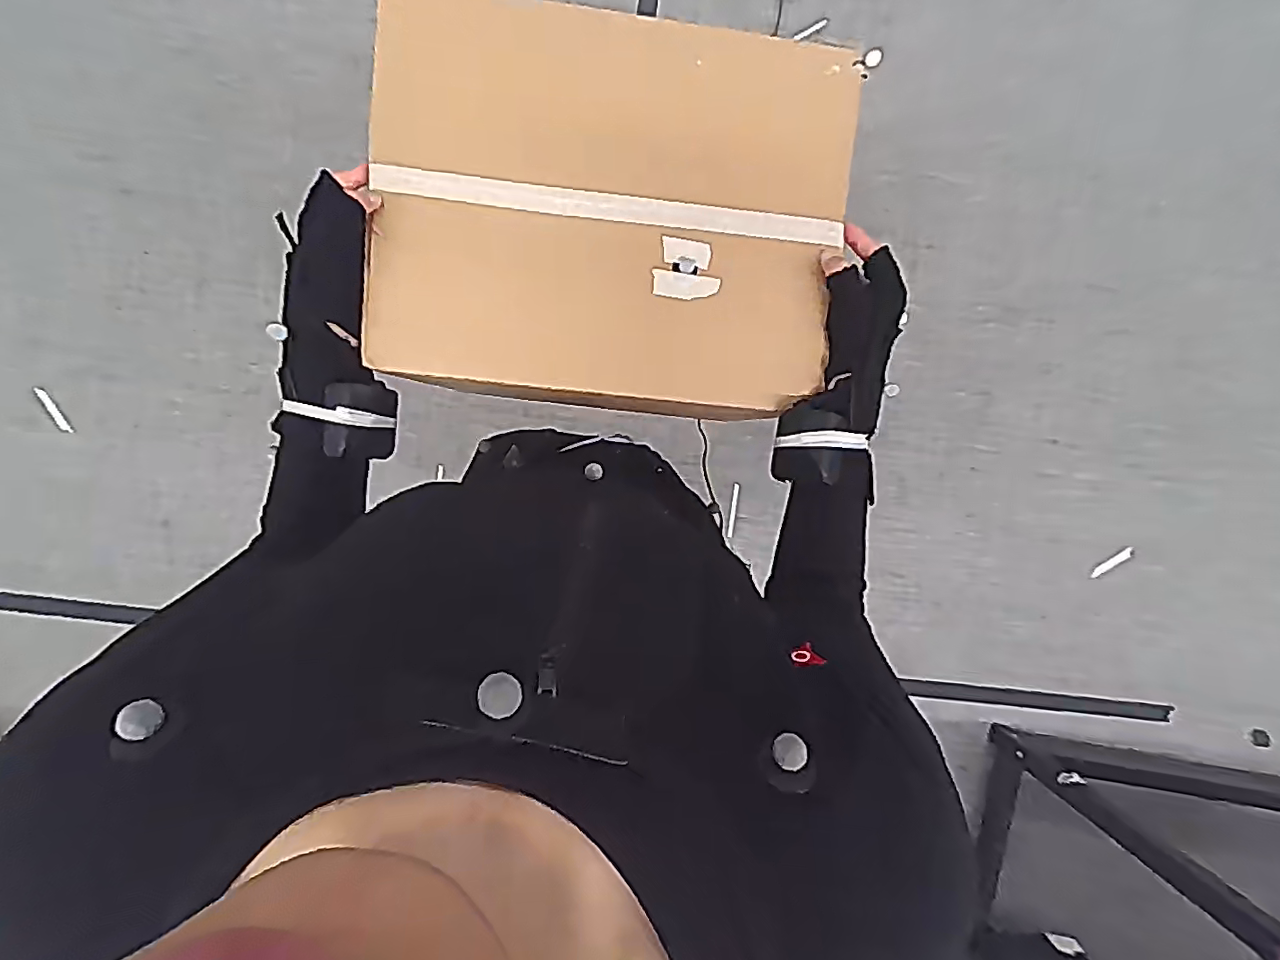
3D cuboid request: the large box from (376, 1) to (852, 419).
[{"bbox_3d":[-0.035,-0.243,0.622,0.408,0.320,0.320,6,96,-5],"label":"large box"}]
